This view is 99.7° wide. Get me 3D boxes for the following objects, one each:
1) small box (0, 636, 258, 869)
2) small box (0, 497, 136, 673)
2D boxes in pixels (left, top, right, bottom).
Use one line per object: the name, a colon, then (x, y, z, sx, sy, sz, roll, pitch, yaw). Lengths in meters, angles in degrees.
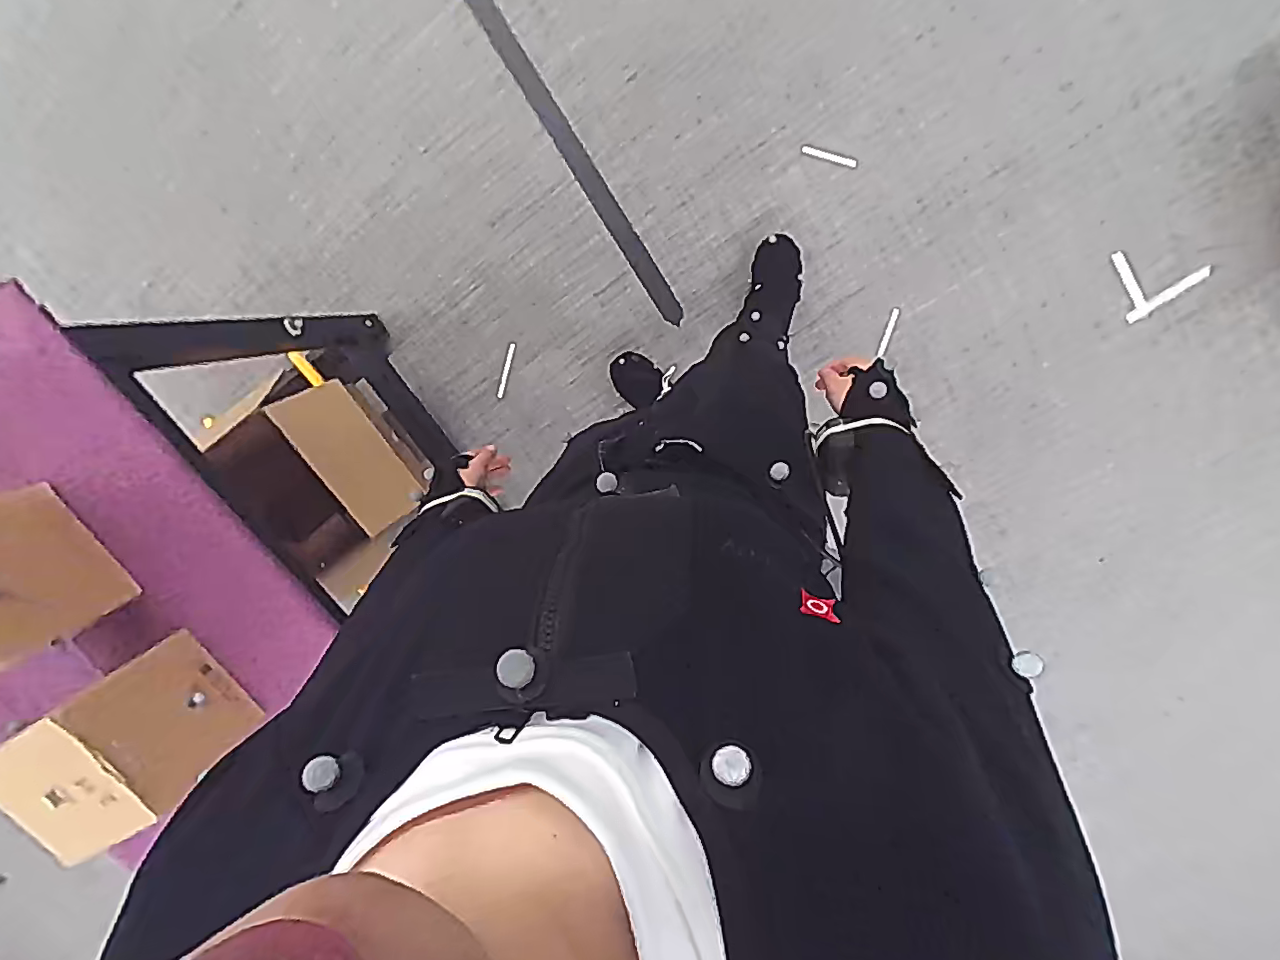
small box: (-0.647, 0.335, 0.686, 0.179, 0.176, 0.168, -29, 104, 13)
small box: (-0.775, 0.137, 0.634, 0.168, 0.176, 0.179, -27, 104, 13)
